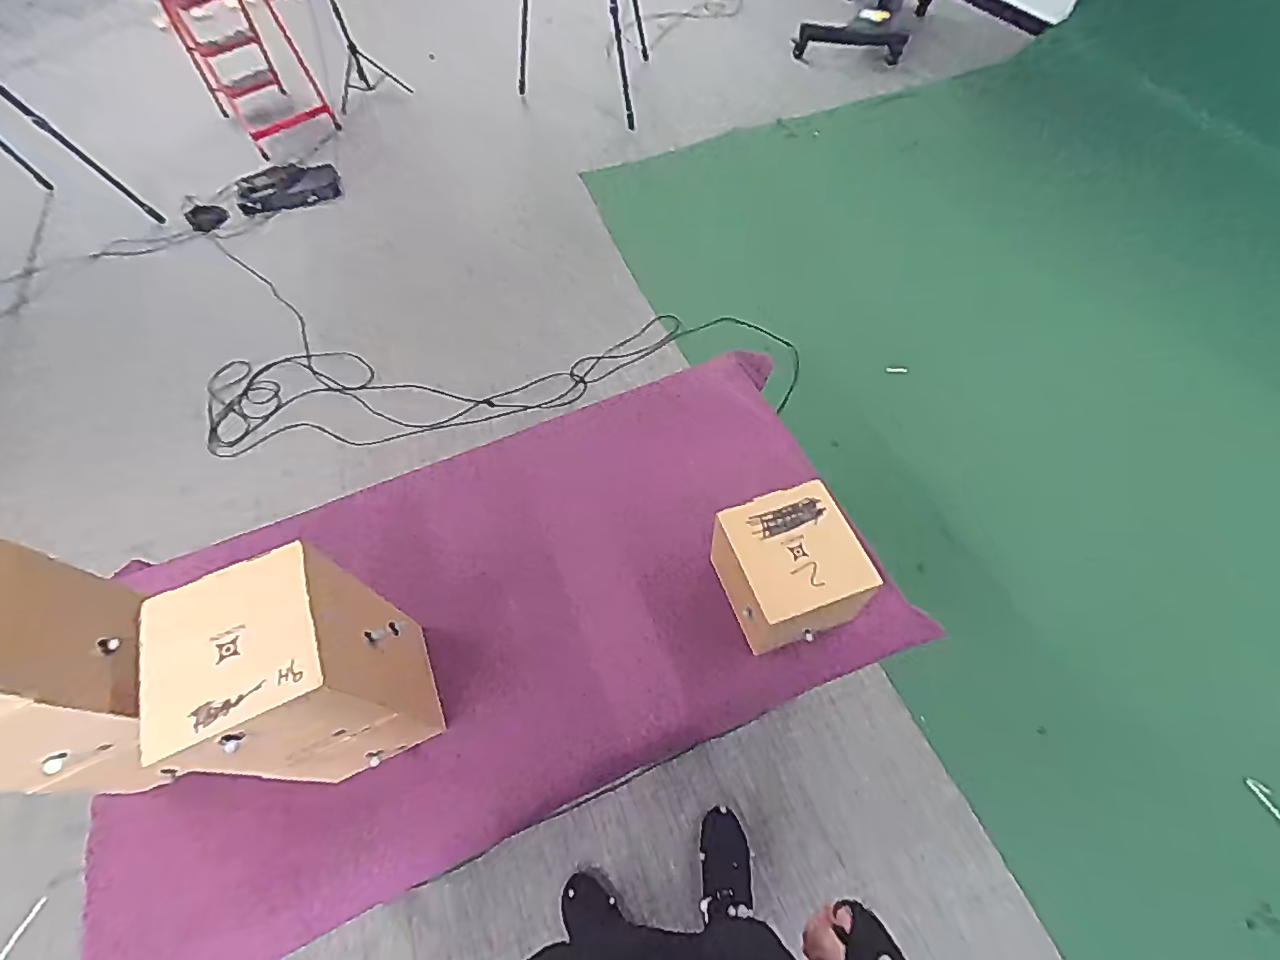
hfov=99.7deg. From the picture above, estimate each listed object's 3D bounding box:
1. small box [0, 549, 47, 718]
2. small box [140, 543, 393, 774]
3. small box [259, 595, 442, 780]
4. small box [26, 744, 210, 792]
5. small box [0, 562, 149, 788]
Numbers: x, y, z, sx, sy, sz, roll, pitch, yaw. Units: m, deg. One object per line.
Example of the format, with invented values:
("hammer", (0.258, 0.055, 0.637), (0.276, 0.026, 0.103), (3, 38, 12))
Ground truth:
("small box", (-0.696, 0.147, 0.478), (0.168, 0.176, 0.179), (-25, 61, -10))
("small box", (-0.408, 0.207, 0.613), (0.168, 0.176, 0.179), (-24, 60, -10))
("small box", (-0.399, 0.293, 0.753), (0.168, 0.176, 0.179), (-23, 61, -10))
("small box", (-0.679, 0.313, 0.758), (0.168, 0.176, 0.179), (-24, 62, -10))
("small box", (-0.687, 0.228, 0.618), (0.168, 0.176, 0.179), (-25, 62, -10))
